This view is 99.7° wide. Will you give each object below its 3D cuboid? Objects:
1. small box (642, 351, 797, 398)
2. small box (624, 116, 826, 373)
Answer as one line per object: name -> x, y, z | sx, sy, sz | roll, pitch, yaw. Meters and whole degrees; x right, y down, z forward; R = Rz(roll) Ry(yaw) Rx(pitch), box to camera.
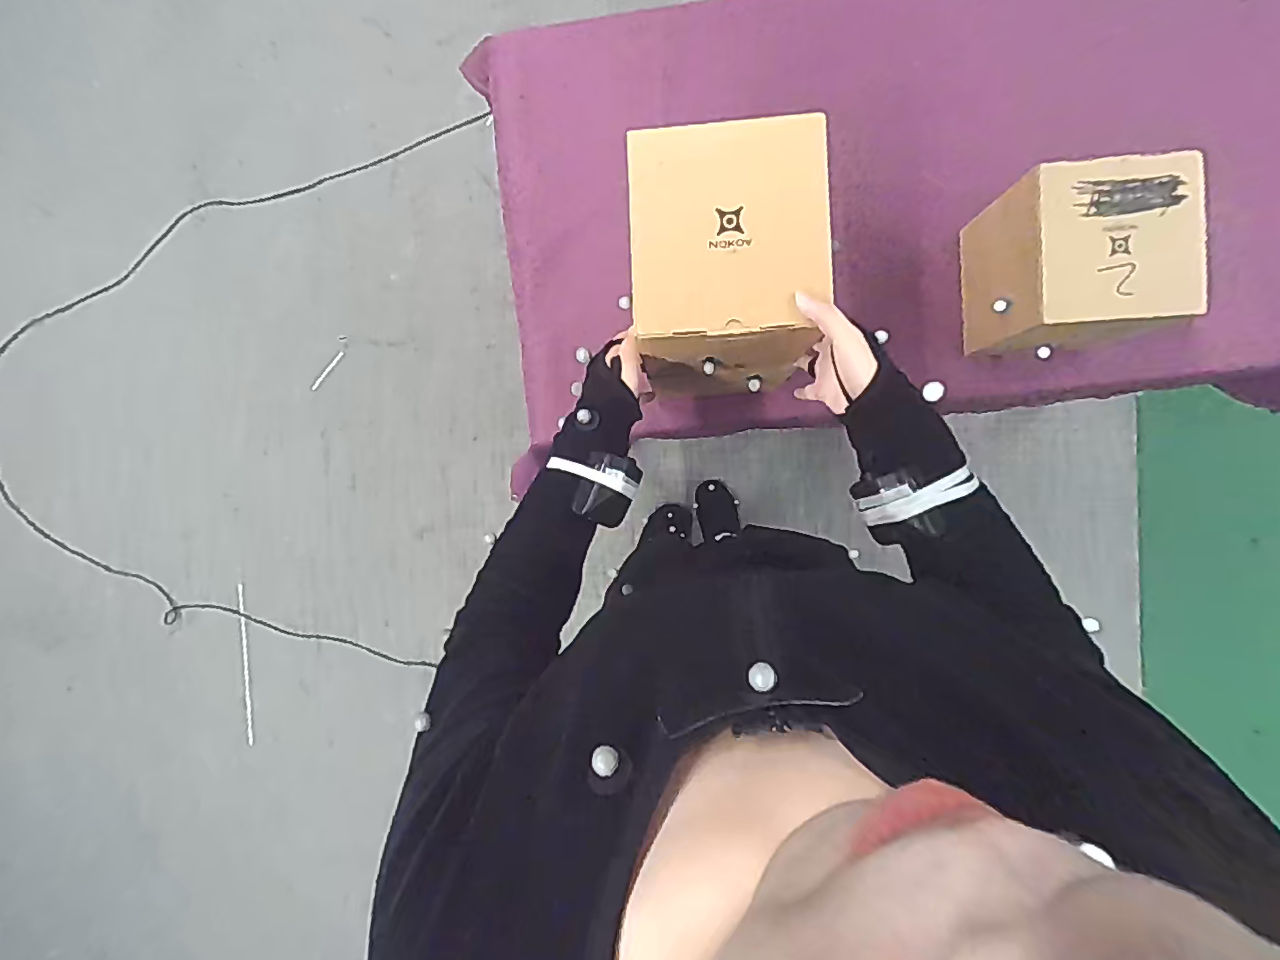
small box -> 0.092, -0.202, 0.691 | 0.179, 0.176, 0.168 | -3, 89, 5
small box -> 0.075, -0.211, 0.529 | 0.168, 0.176, 0.179 | -3, 91, 5
